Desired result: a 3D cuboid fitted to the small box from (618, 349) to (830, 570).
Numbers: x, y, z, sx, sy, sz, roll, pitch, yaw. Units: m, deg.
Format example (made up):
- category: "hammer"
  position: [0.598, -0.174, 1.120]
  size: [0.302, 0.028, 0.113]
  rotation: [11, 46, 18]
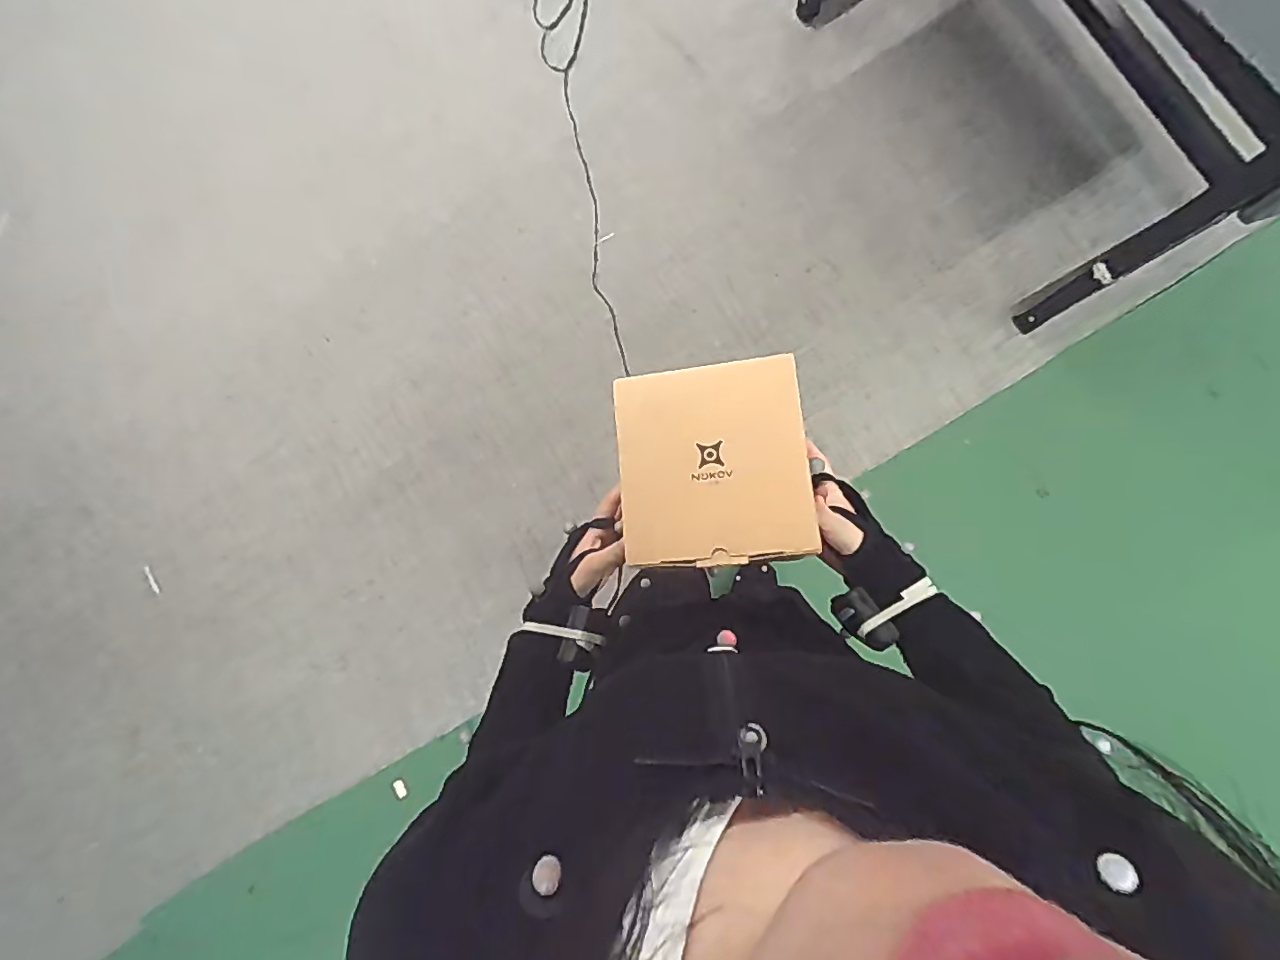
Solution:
- category: "small box"
  position: [0.078, -0.006, 0.538]
  size: [0.168, 0.176, 0.179]
  rotation: [-7, 79, 8]
